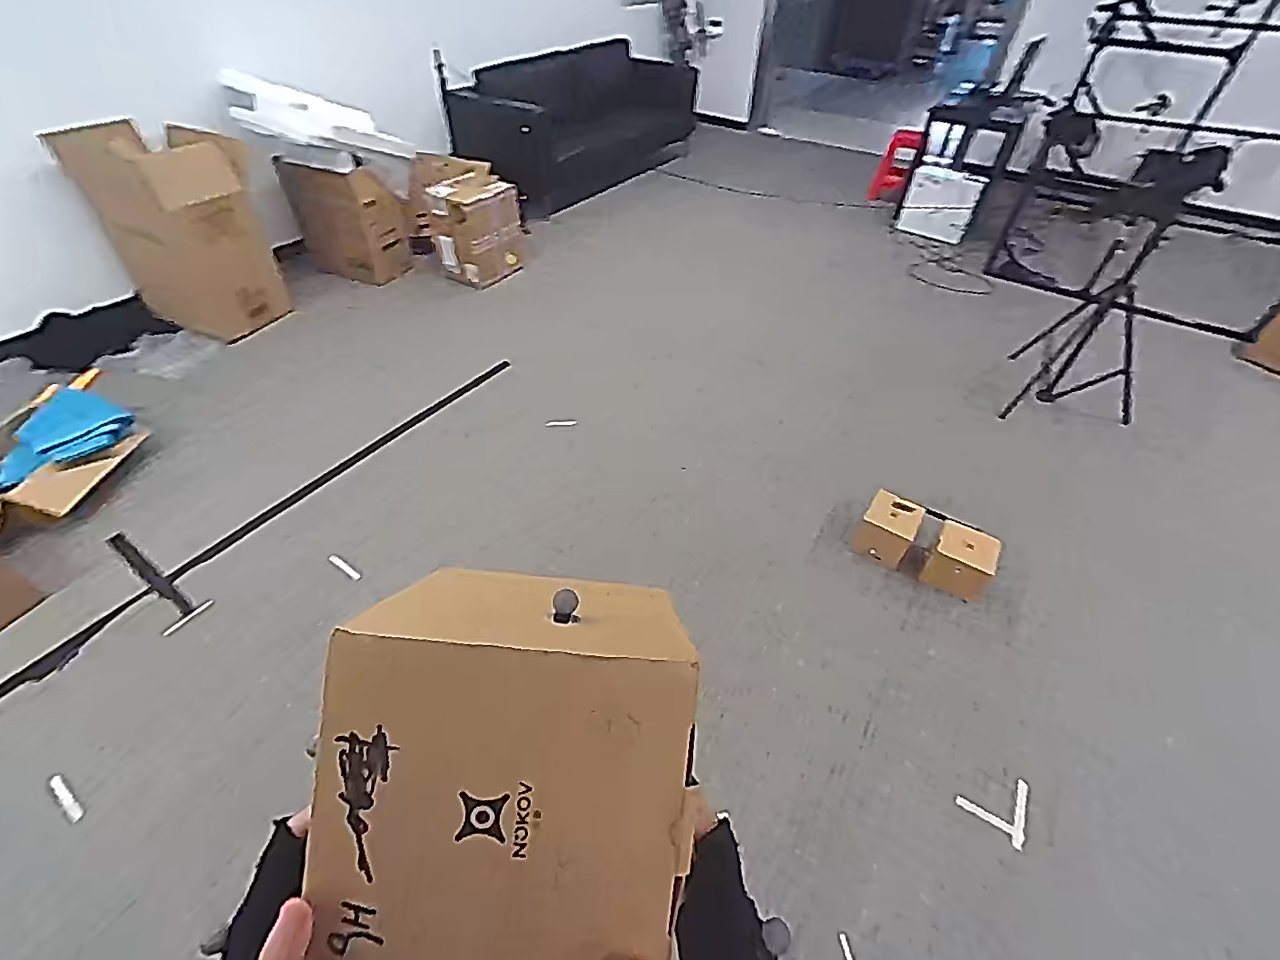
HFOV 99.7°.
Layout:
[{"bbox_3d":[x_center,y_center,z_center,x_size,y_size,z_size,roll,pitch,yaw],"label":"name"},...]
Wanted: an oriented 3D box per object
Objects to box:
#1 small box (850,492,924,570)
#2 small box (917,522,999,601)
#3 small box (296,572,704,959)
[{"bbox_3d":[0.863,0.181,1.903,0.168,0.176,0.179,28,51,23],"label":"small box"},{"bbox_3d":[1.064,0.278,1.817,0.179,0.176,0.168,25,51,21],"label":"small box"},{"bbox_3d":[-0.071,0.158,0.336,0.179,0.176,0.168,7,89,-4],"label":"small box"}]
